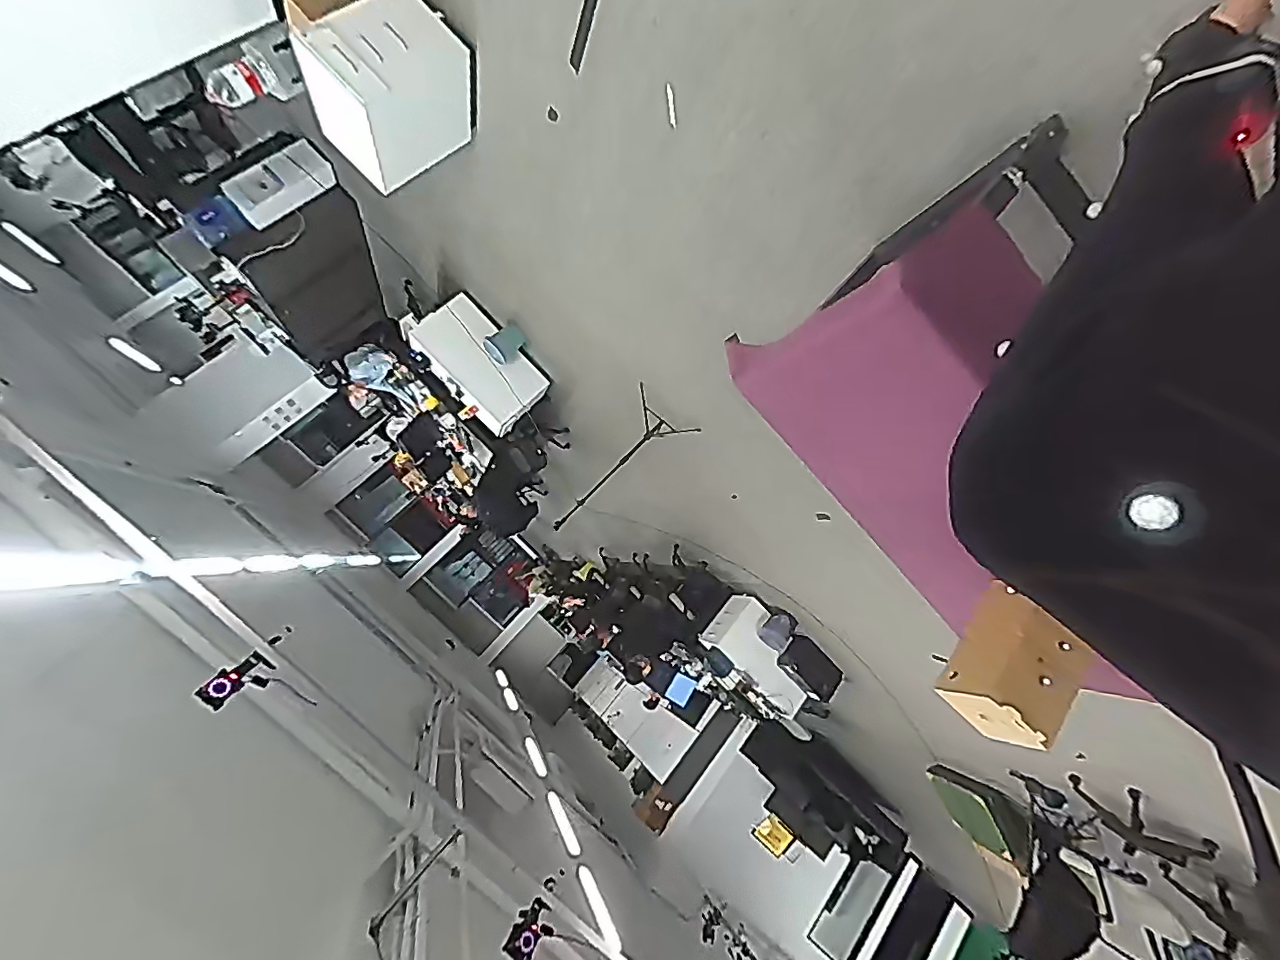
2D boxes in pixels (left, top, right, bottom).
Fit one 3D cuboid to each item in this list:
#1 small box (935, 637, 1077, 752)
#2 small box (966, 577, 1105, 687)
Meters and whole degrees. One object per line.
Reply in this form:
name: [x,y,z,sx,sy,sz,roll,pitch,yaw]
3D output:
small box: [0.822,0.471,1.218,0.168,0.176,0.179,42,161,3]
small box: [0.925,0.351,1.266,0.179,0.176,0.168,44,161,2]
